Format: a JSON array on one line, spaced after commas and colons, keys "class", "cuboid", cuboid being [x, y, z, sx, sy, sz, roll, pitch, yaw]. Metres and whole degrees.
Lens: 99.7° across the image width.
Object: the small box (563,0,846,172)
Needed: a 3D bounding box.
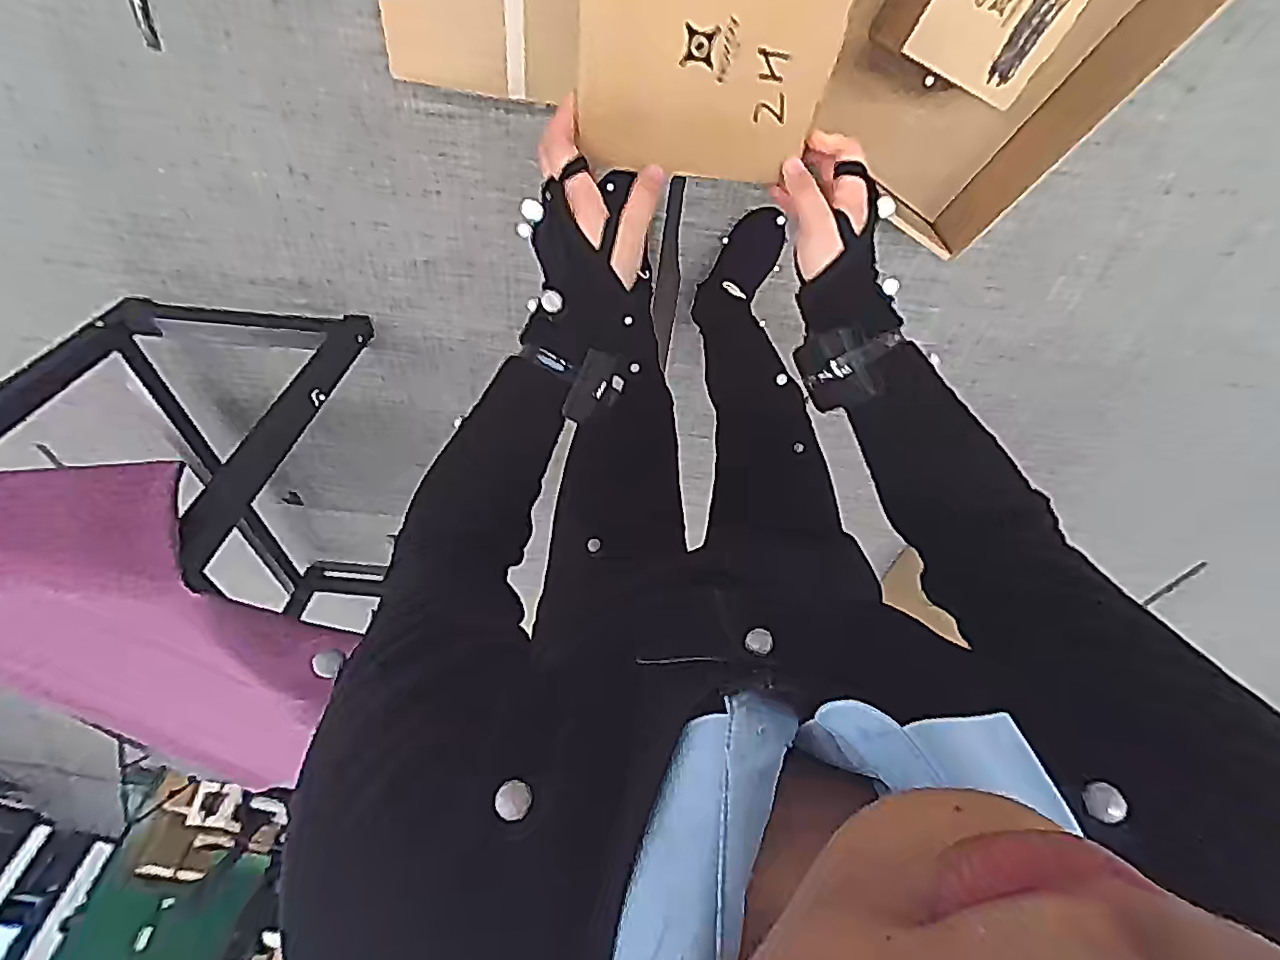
[{"class": "small box", "cuboid": [0.035, -0.356, 0.389, 0.179, 0.176, 0.168, 0, 148, -9]}]
